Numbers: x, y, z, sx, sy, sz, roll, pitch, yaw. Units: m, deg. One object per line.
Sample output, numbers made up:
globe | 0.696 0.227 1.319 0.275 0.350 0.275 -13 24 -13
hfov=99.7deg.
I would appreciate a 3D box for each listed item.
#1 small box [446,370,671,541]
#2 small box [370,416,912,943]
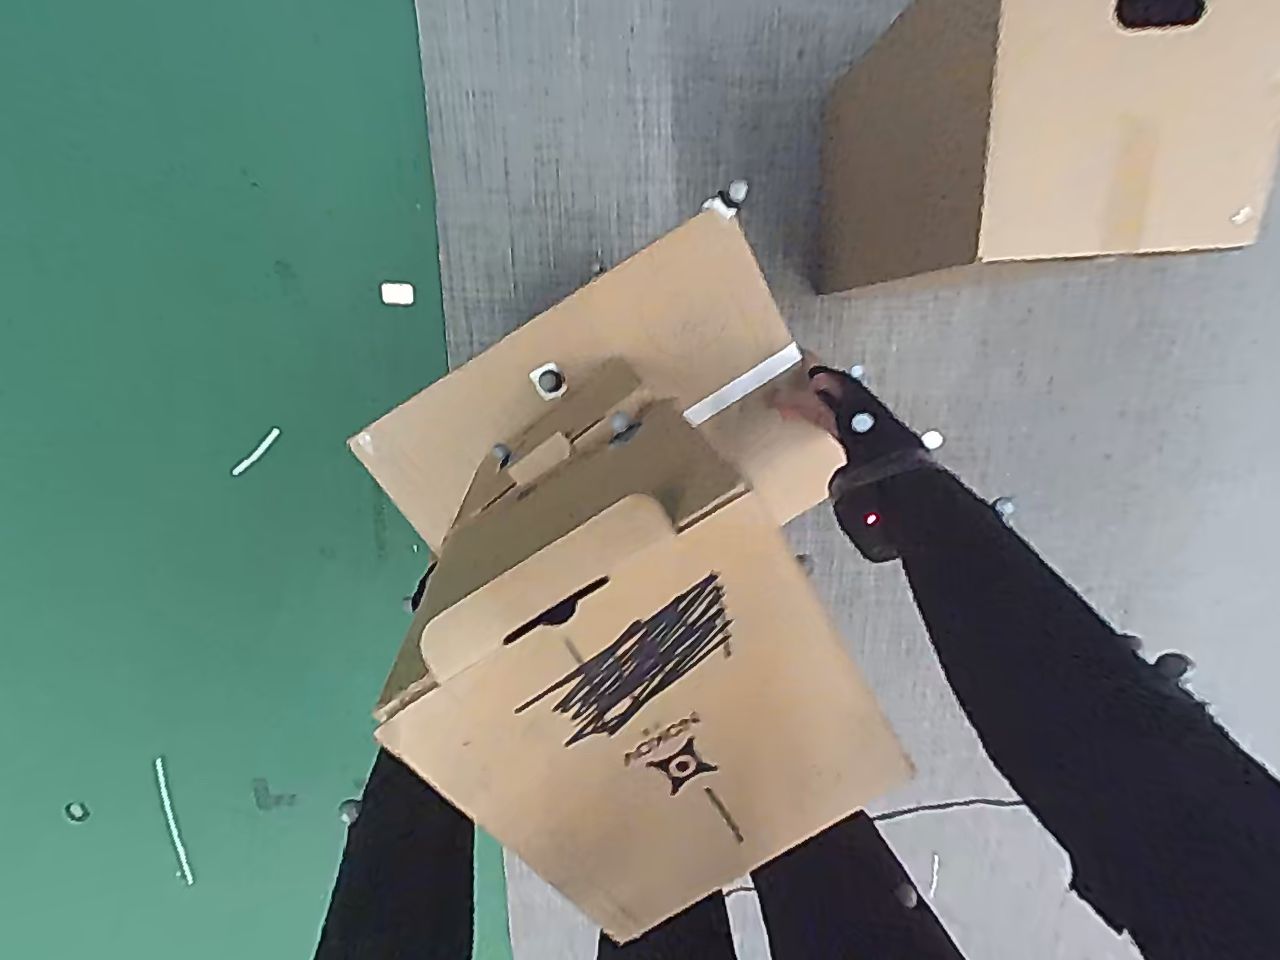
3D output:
small box | -0.026 0.024 0.447 0.168 0.176 0.179 -37 109 5
small box | 0.000 0.081 0.295 0.168 0.176 0.179 -32 110 4
